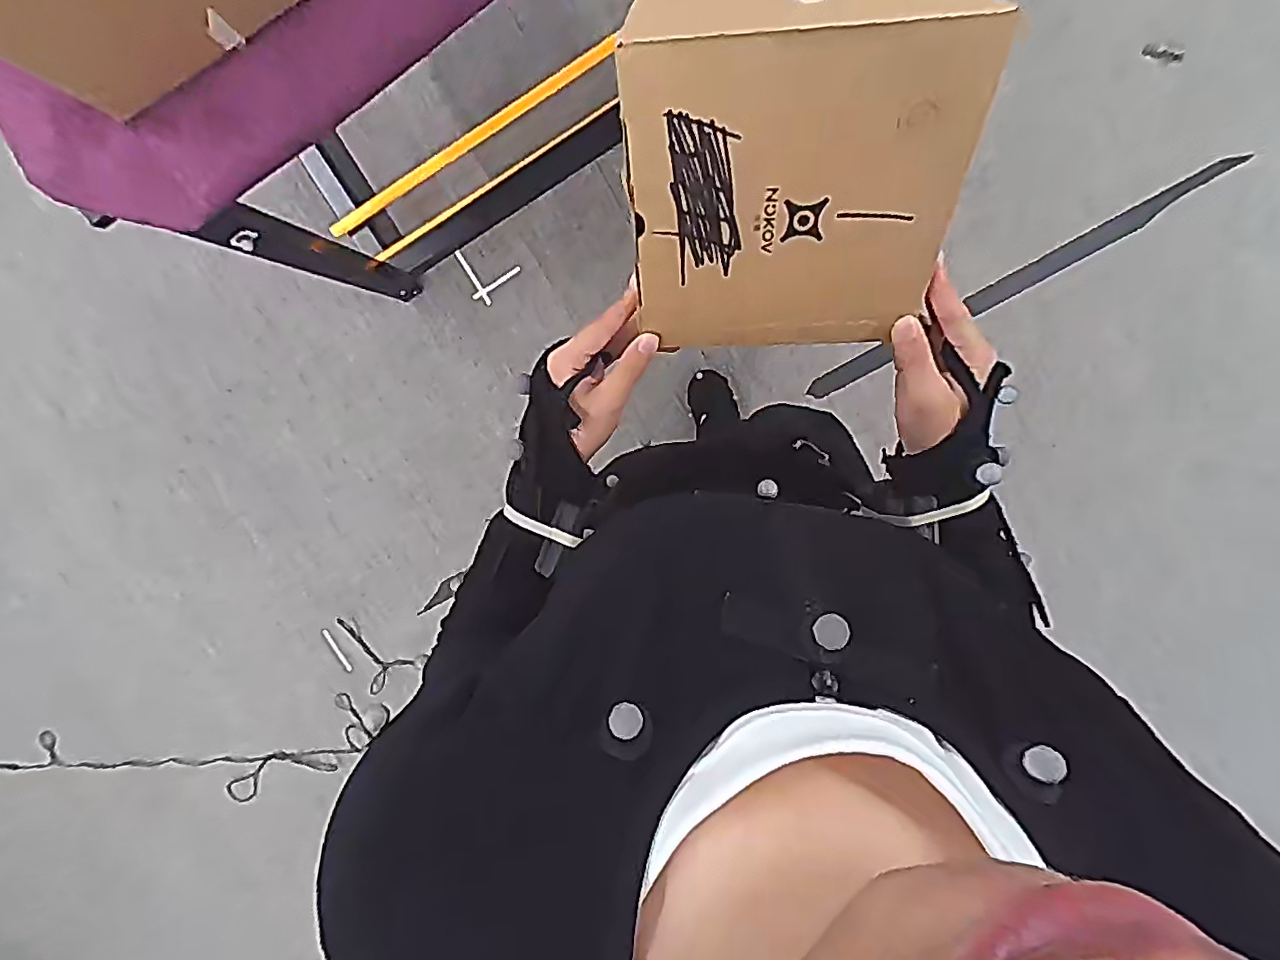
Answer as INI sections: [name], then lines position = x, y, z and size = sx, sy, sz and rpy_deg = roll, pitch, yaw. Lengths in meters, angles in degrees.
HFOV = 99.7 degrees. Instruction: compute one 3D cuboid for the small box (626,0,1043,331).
[small box]
position = 0.091, -0.211, 0.338
size = 0.179, 0.176, 0.168
rpy_deg = -1, 139, 5
